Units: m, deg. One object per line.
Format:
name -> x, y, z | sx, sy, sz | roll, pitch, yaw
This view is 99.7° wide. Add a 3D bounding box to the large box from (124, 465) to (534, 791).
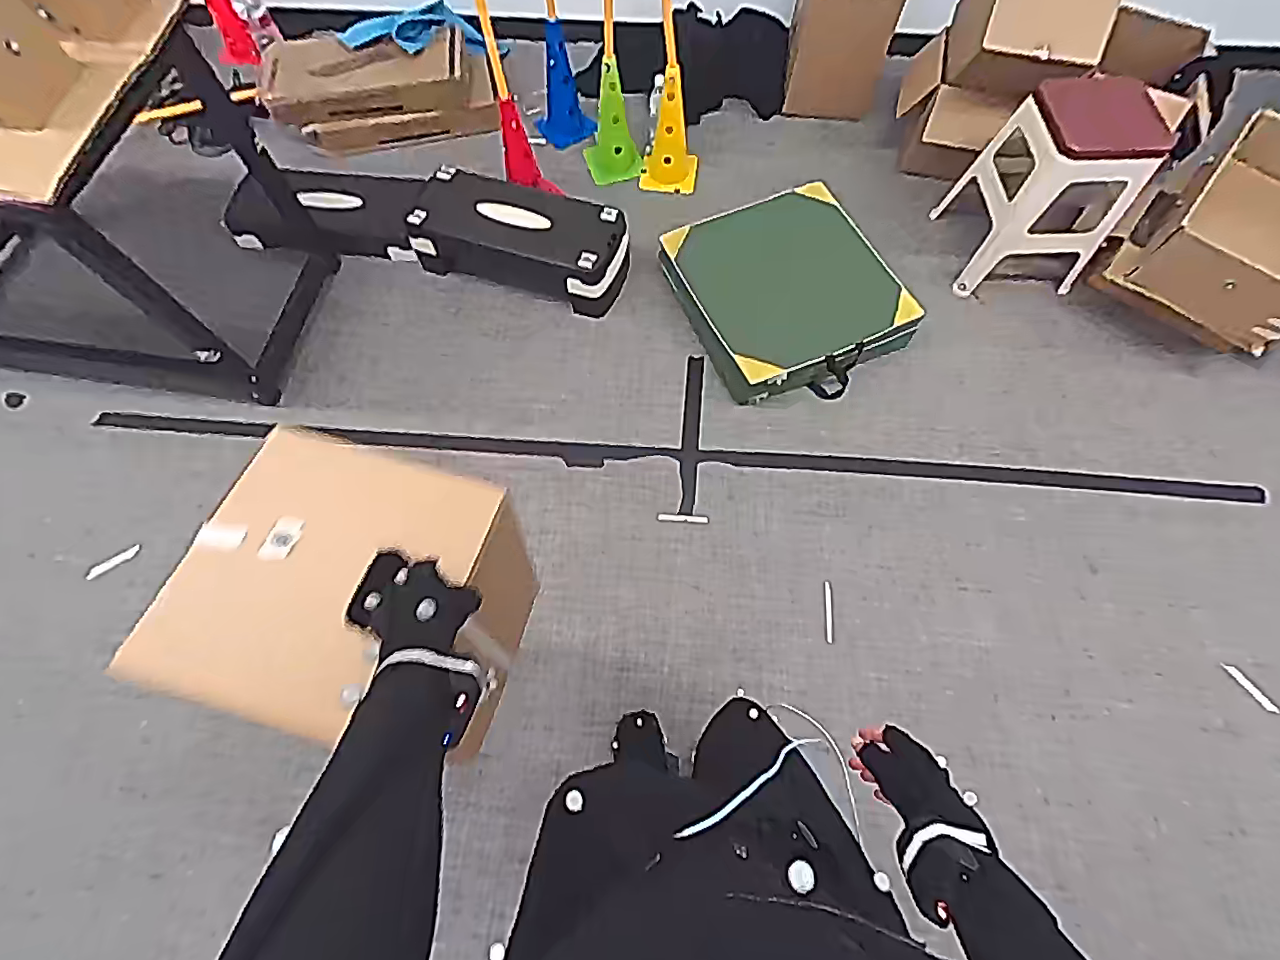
large box -> -0.365, 0.226, 0.780 | 0.320, 0.408, 0.320 | 15, 62, 3
